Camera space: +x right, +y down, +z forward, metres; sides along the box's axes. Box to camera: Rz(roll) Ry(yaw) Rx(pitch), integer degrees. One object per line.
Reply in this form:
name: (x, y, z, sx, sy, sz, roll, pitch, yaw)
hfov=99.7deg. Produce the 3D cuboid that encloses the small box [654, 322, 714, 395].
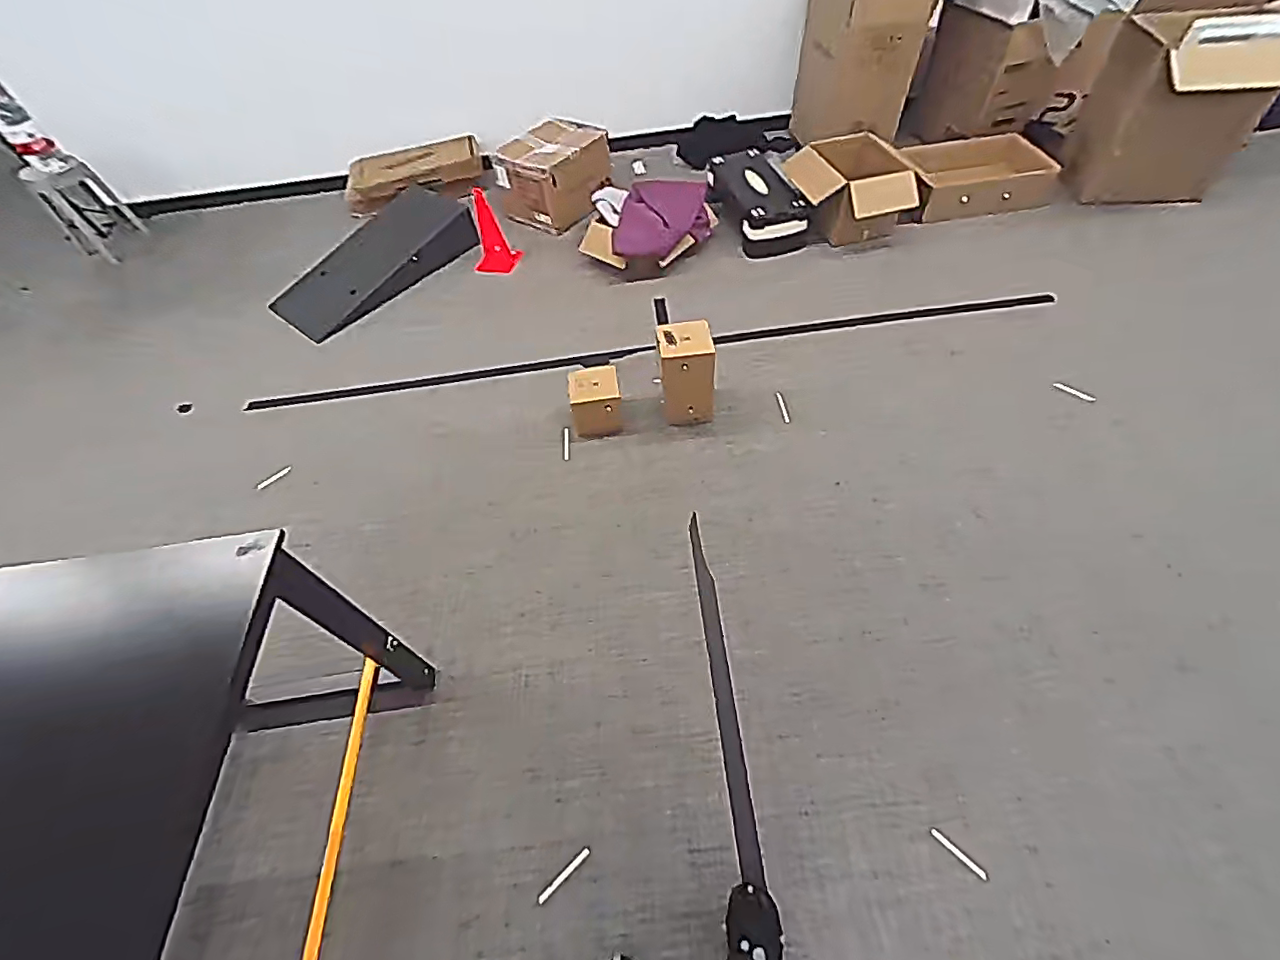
small box: (0.147, -0.403, 1.812, 0.179, 0.176, 0.168, -7, 54, 0)

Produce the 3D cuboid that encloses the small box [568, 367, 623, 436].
small box: (-0.156, -0.280, 1.958, 0.179, 0.176, 0.168, -10, 53, 0)

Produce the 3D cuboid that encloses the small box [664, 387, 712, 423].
small box: (0.169, -0.318, 1.954, 0.168, 0.176, 0.179, -6, 54, 1)
